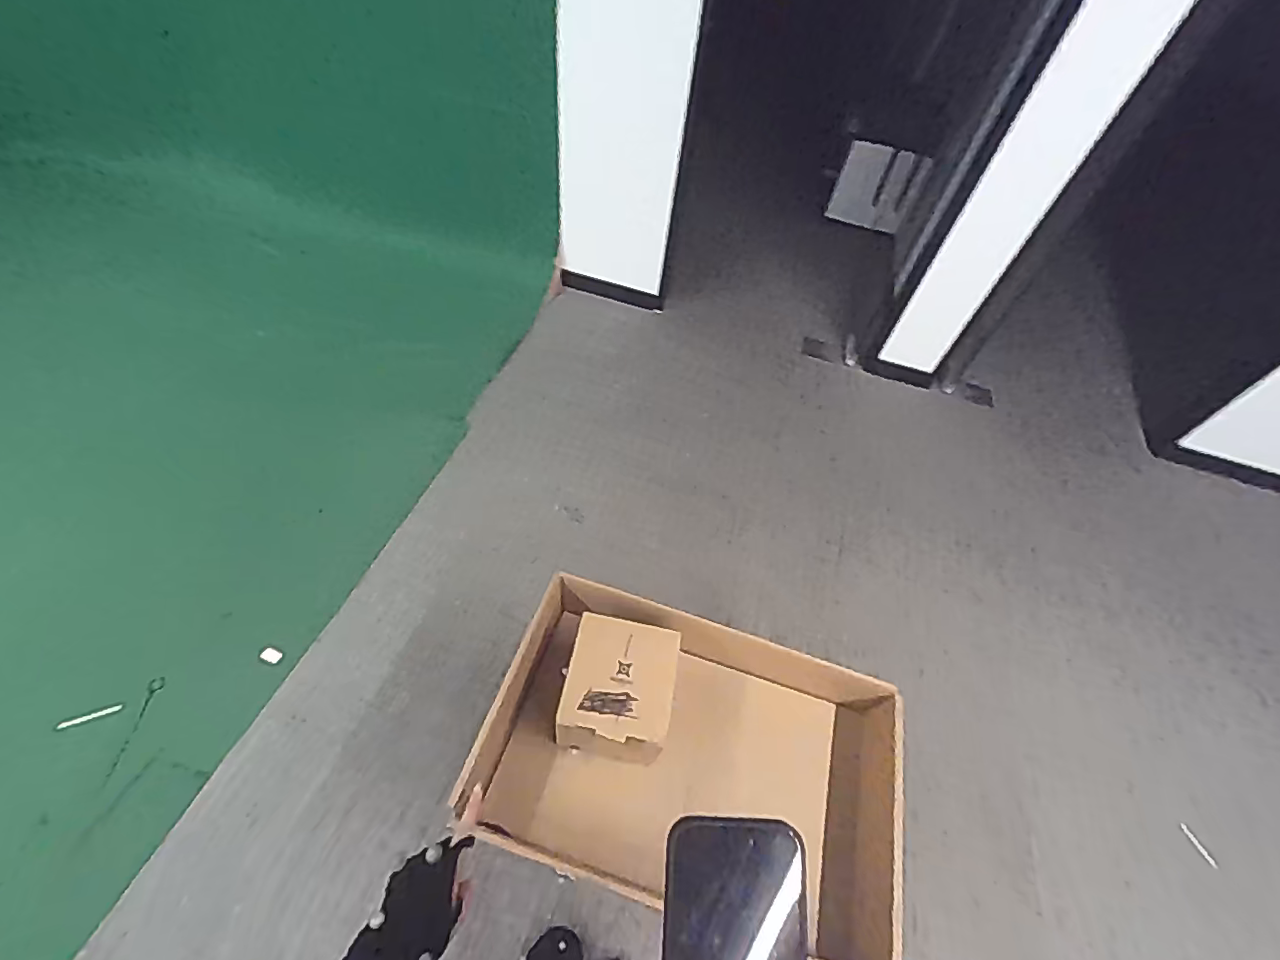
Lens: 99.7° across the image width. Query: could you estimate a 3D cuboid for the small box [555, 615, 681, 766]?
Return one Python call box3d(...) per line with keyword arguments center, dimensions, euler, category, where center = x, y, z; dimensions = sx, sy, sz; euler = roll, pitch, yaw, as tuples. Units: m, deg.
box3d(center=(-0.035, 0.350, 0.886), dimensions=(0.168, 0.176, 0.179), euler=(12, 52, 1), category="small box")
